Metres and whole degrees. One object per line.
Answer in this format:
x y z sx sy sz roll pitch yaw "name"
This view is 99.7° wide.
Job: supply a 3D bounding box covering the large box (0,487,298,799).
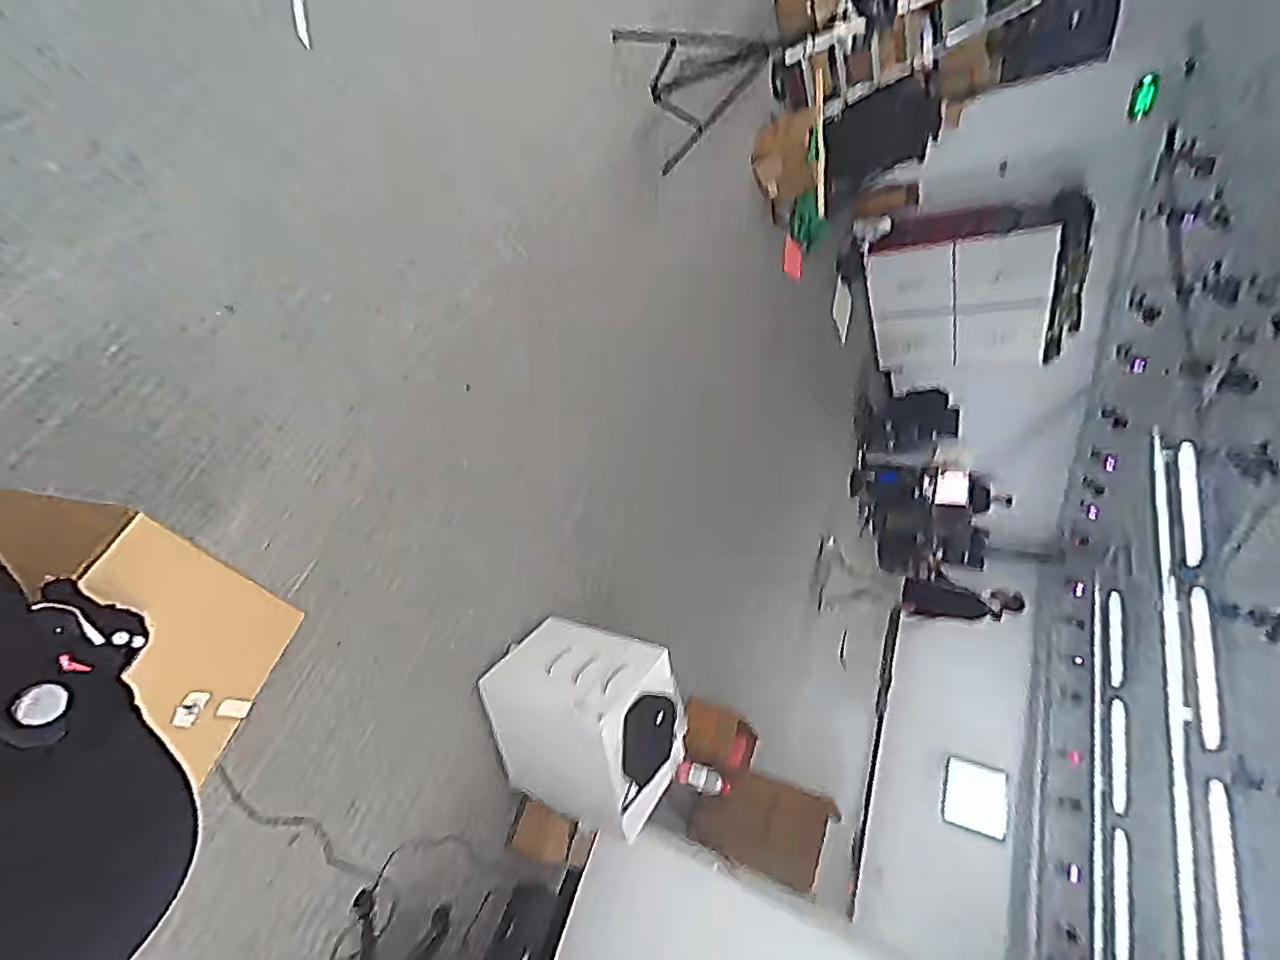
-0.806 0.222 0.750 0.320 0.408 0.320 72 27 -52 "large box"
